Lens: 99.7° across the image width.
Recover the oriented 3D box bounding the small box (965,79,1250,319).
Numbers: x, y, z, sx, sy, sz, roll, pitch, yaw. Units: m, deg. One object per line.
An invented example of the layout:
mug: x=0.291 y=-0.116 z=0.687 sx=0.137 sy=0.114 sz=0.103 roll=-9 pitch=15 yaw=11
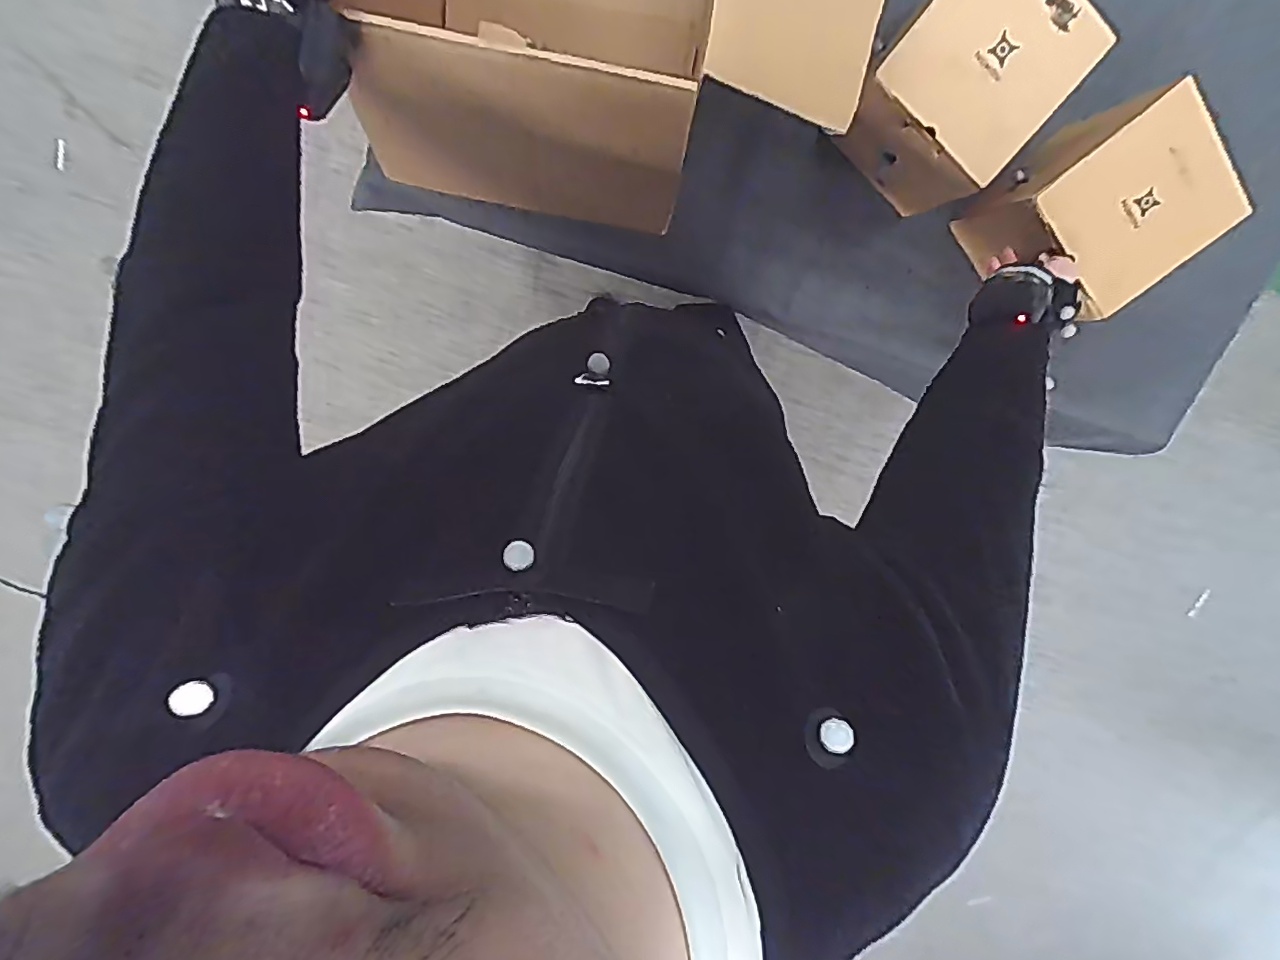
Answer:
small box: x=0.532 y=-0.314 z=0.650 sx=0.179 sy=0.176 sz=0.168 roll=-40 pitch=104 yaw=11
